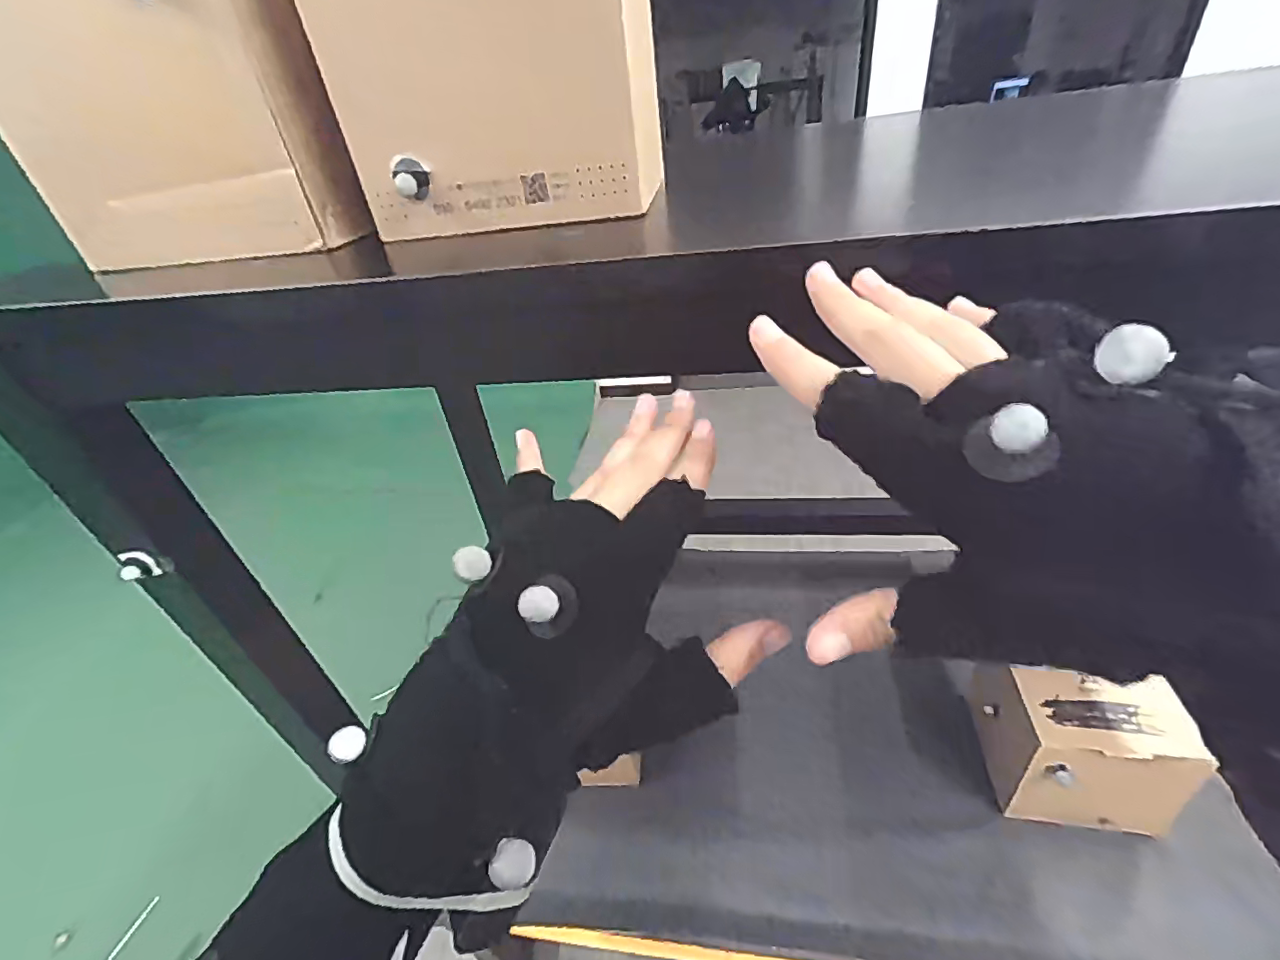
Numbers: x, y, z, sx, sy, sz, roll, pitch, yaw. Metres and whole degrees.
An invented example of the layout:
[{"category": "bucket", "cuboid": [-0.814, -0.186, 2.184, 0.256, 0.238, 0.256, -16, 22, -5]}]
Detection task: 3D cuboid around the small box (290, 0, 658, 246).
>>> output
[{"category": "small box", "cuboid": [-0.081, -0.256, 0.348, 0.168, 0.176, 0.179, -2, 35, 9]}]
